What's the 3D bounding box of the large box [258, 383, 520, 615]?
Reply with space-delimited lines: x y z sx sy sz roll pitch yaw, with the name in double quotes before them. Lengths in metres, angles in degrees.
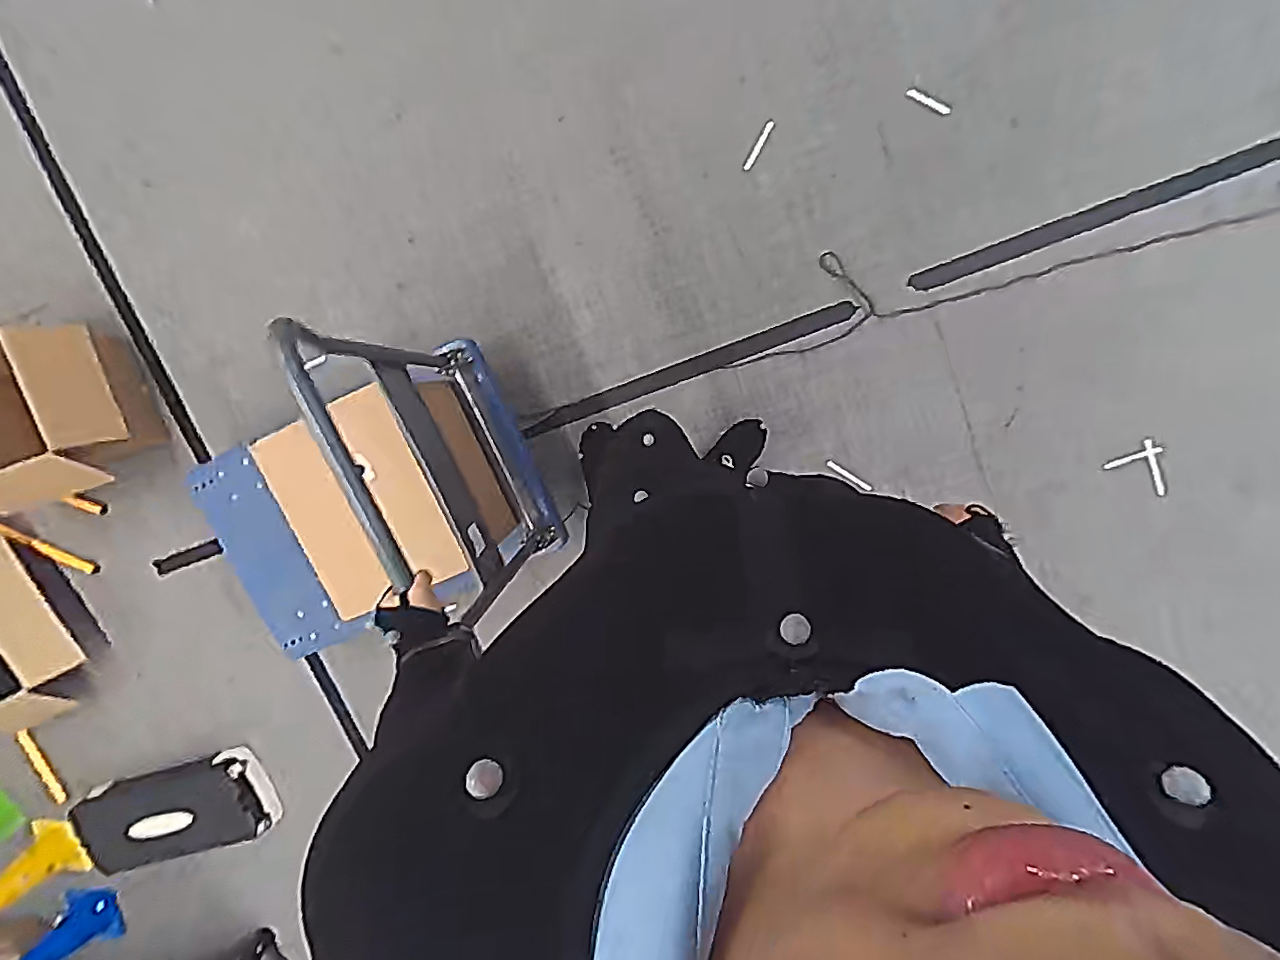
"large box" -0.534 0.023 1.229 0.320 0.320 0.408 -23 97 8
